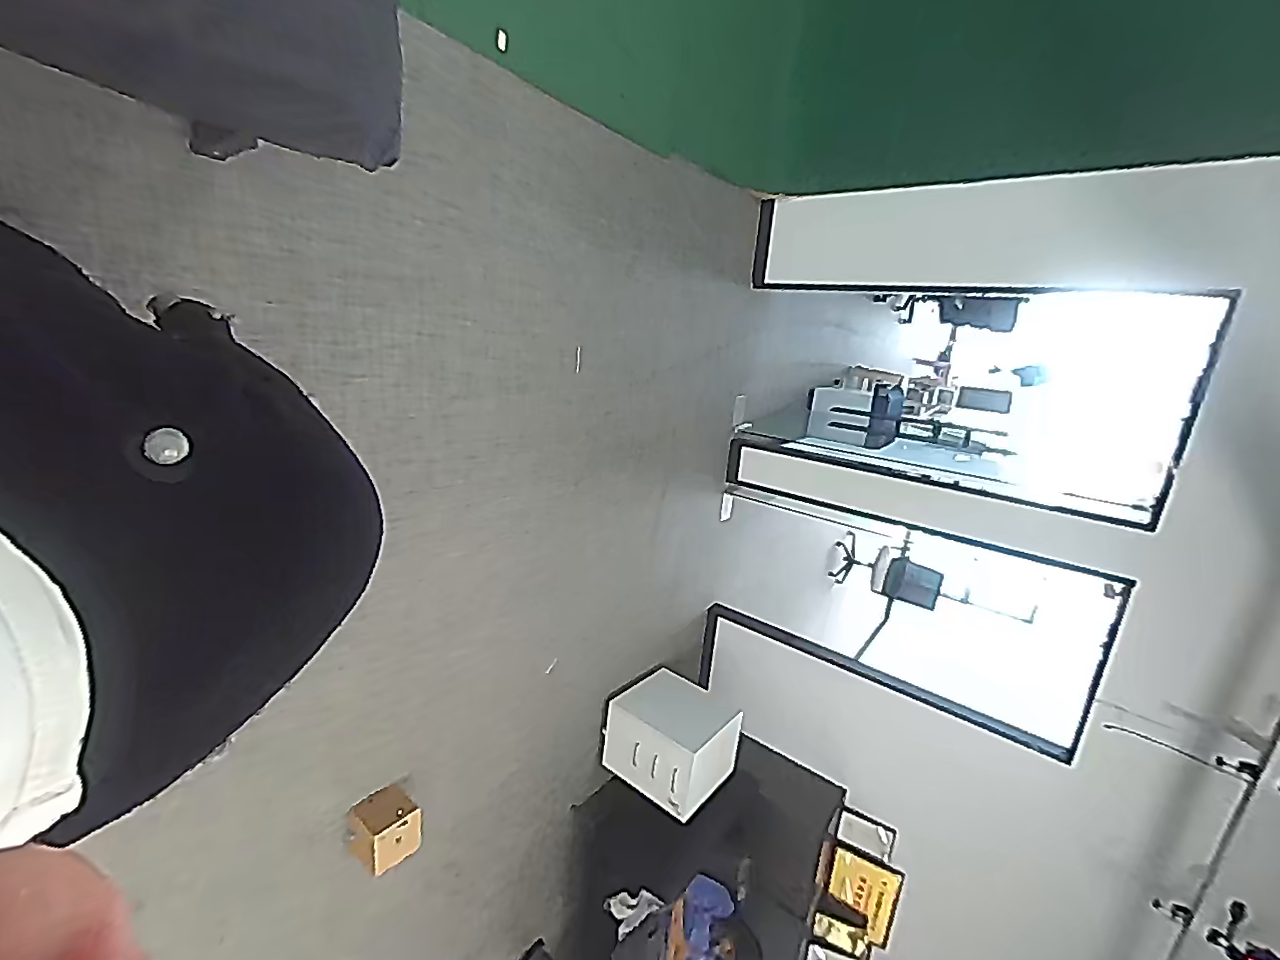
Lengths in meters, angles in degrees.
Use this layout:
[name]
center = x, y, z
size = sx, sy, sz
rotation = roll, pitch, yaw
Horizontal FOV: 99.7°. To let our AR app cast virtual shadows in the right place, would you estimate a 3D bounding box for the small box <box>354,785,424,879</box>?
[small box]
center = -0.874, 1.215, 1.882
size = 0.168, 0.176, 0.179
rotation = -12, 112, -52
